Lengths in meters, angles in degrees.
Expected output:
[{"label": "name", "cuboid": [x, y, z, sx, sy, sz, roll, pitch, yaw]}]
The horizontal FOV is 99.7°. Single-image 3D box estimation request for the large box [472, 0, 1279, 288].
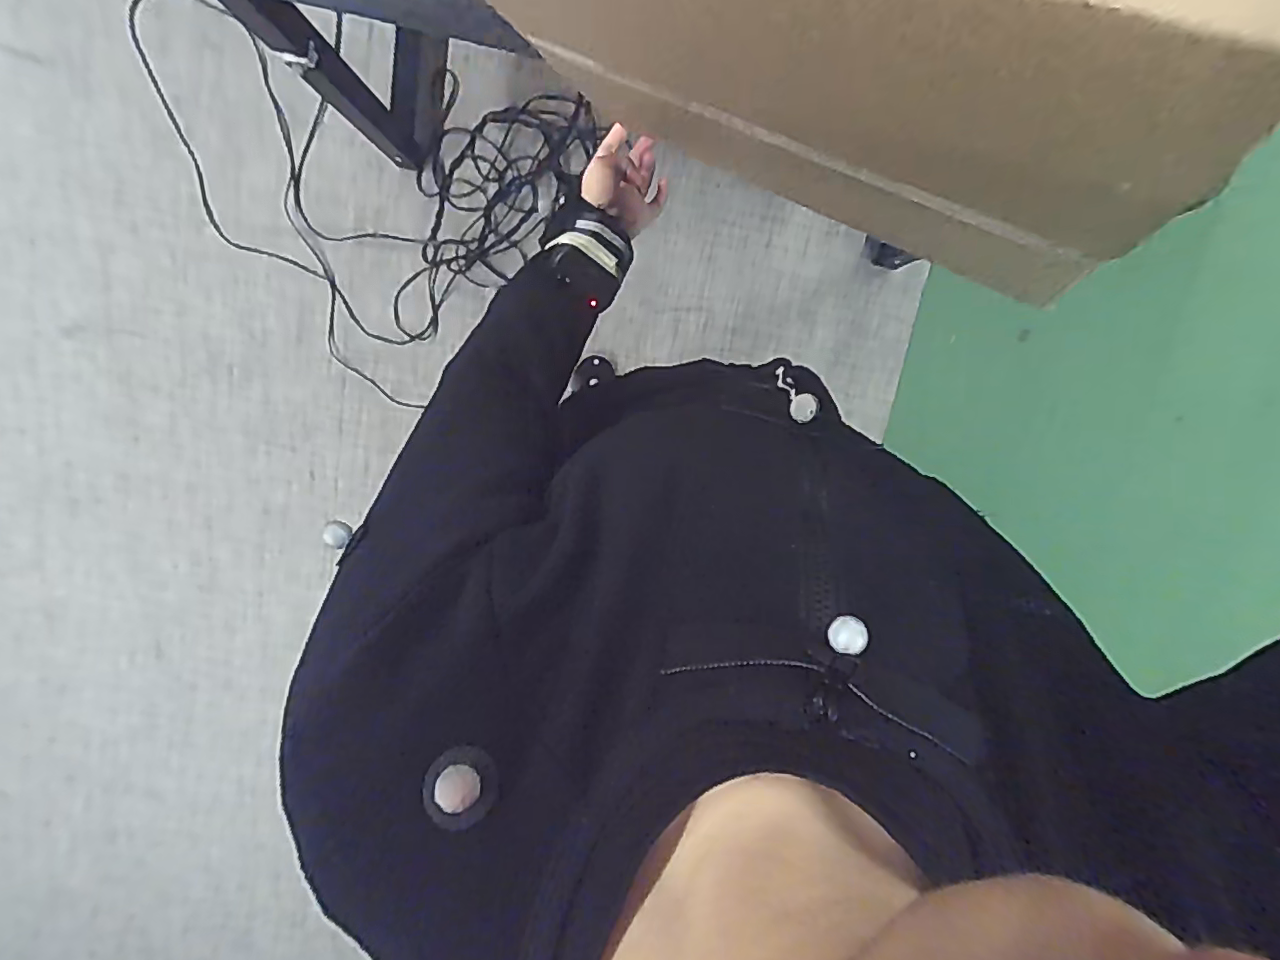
[{"label": "large box", "cuboid": [0.135, -0.340, 0.277, 0.408, 0.320, 0.320, 33, 110, 19]}]
